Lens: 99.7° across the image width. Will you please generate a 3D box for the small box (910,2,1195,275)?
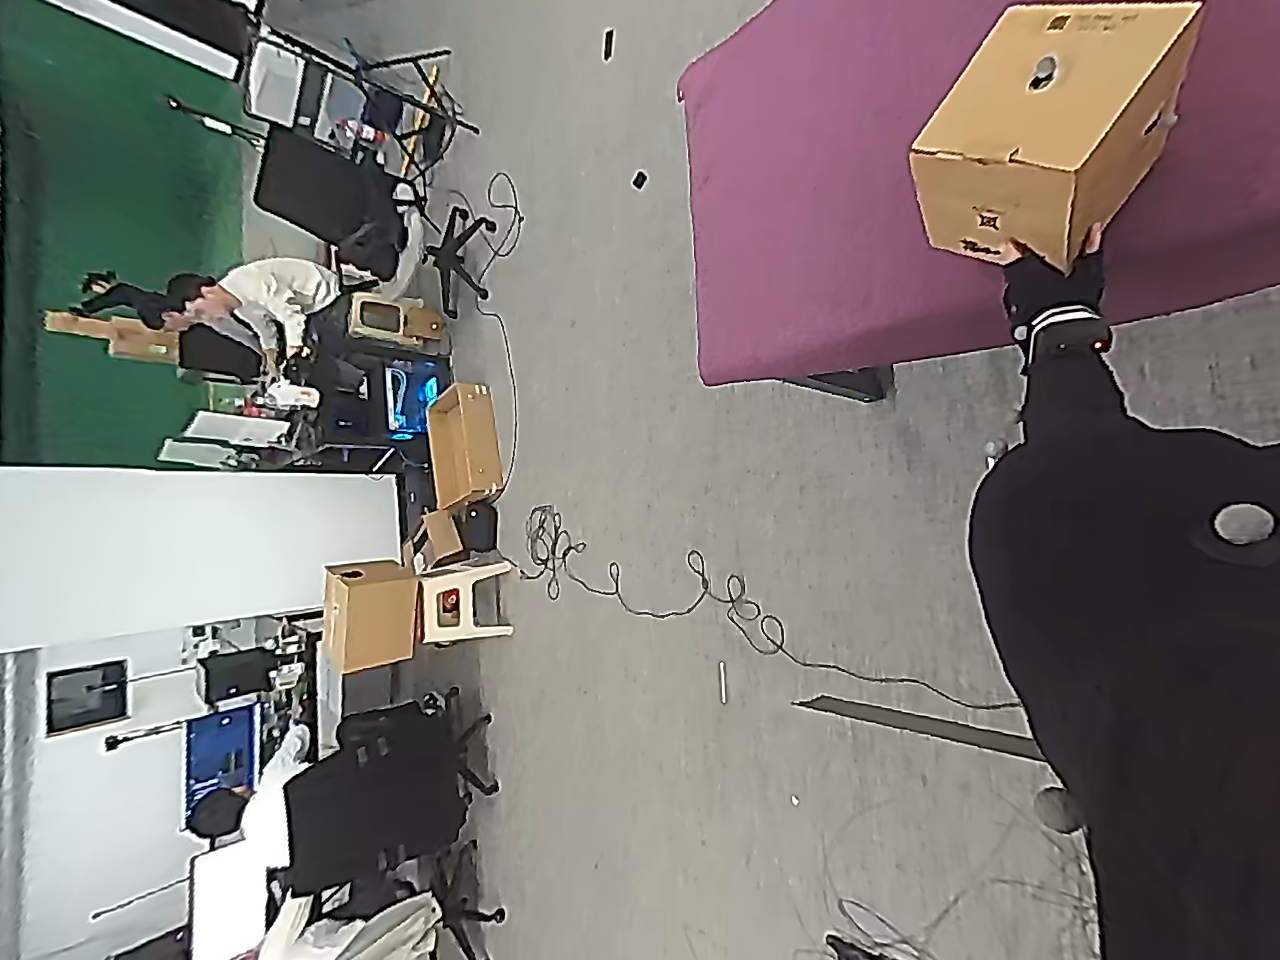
[{"bbox_3d":[0.423,-0.358,0.574,0.168,0.179,0.176,40,98,38],"label":"small box"}]
